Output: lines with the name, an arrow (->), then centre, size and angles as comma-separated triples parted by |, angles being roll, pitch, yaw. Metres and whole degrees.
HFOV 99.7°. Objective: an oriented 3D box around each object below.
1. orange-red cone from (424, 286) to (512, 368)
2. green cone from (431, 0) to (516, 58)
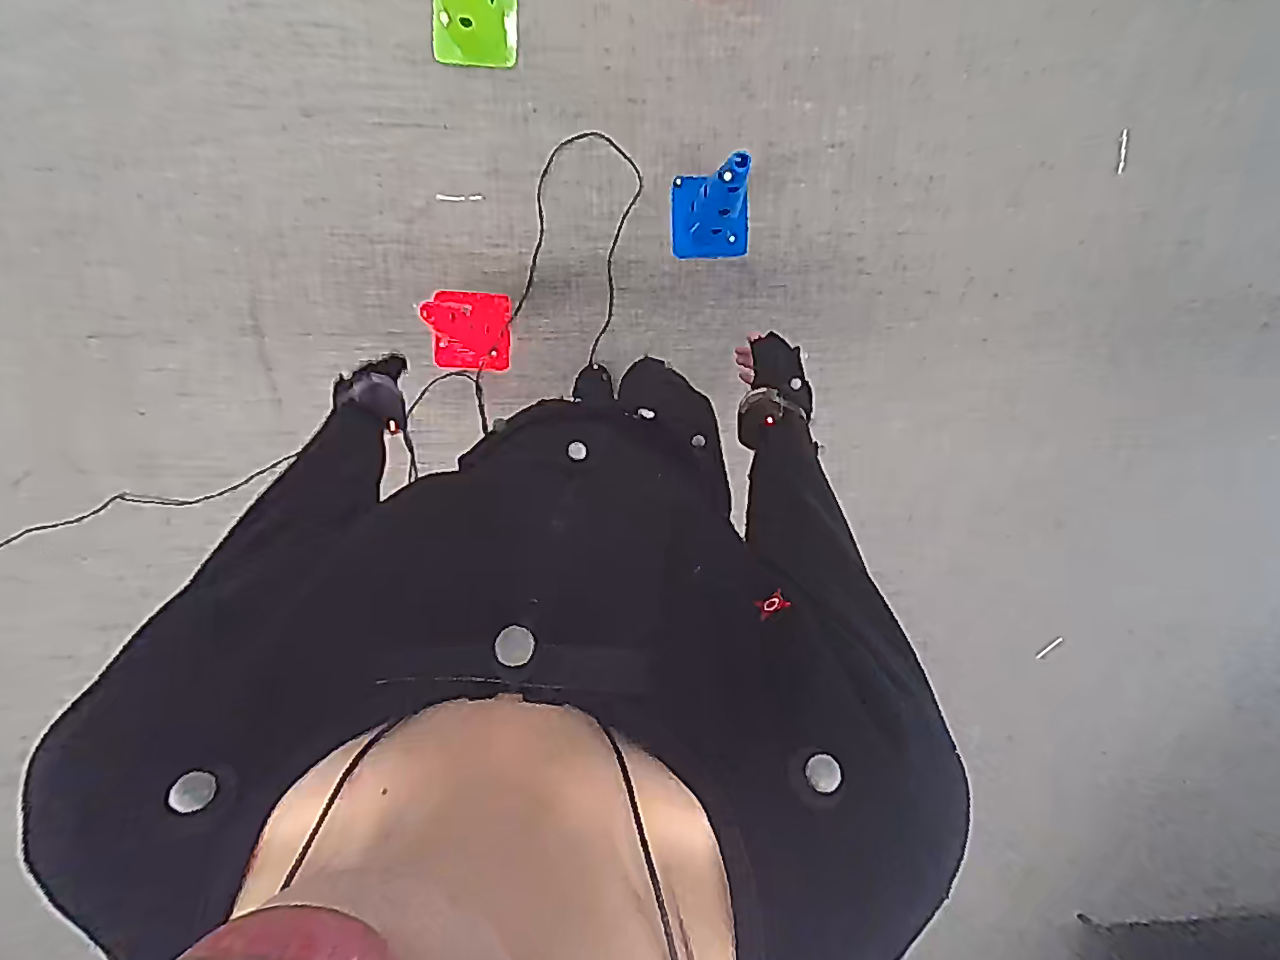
orange-red cone -> -0.425, -0.374, 1.247 | 0.198, 0.360, 0.199 | 3, 98, -4
green cone -> -0.391, -1.095, 1.122 | 0.200, 0.368, 0.202 | 1, 101, -3
